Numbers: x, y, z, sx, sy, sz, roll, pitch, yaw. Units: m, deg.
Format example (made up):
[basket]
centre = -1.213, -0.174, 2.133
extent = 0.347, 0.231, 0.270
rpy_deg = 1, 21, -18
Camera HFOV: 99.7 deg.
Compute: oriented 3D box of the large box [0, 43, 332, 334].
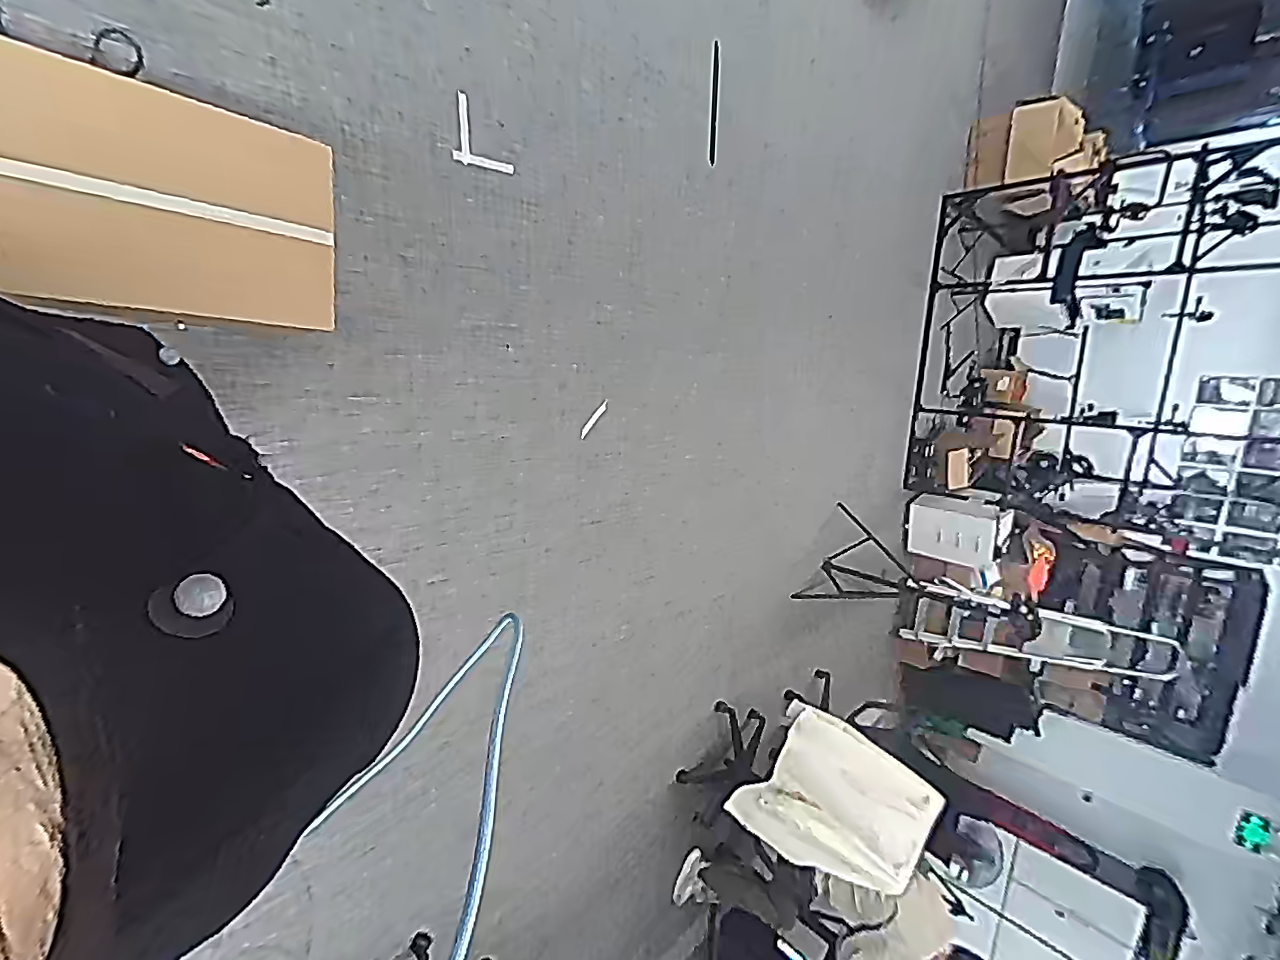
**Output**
[large box]
centre = -0.793, -0.428, 0.914
extent = 0.408, 0.320, 0.320
rpy_deg = -5, 104, -45
